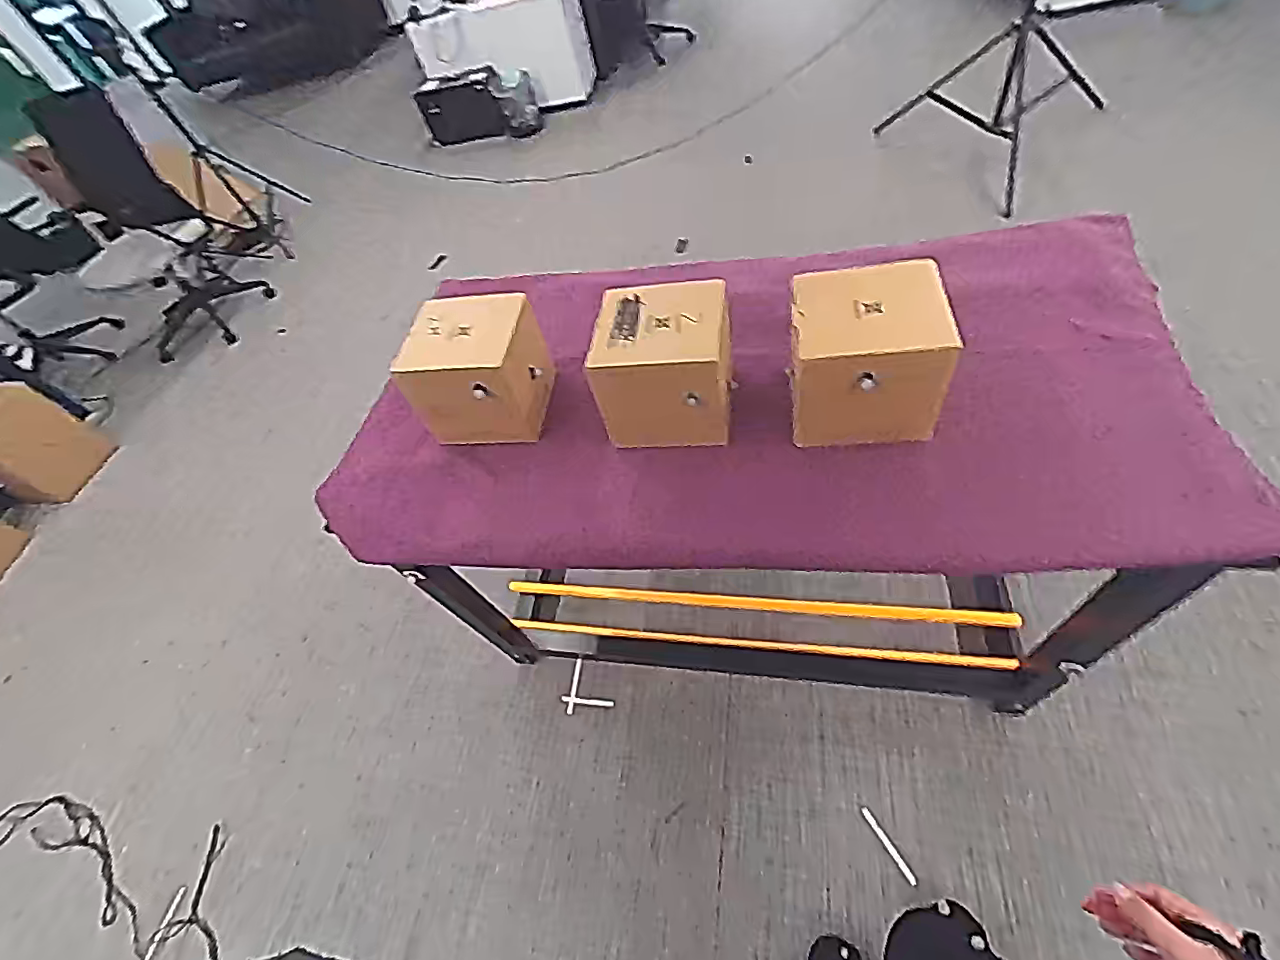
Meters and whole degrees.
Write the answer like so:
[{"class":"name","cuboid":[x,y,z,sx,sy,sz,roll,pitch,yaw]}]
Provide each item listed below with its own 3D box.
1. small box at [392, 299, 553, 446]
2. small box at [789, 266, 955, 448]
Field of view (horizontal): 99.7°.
[{"class":"small box","cuboid":[-0.255,-0.168,0.877,0.179,0.176,0.168,-1,54,11]},{"class":"small box","cuboid":[0.295,-0.158,0.731,0.179,0.176,0.168,-2,54,14]}]
